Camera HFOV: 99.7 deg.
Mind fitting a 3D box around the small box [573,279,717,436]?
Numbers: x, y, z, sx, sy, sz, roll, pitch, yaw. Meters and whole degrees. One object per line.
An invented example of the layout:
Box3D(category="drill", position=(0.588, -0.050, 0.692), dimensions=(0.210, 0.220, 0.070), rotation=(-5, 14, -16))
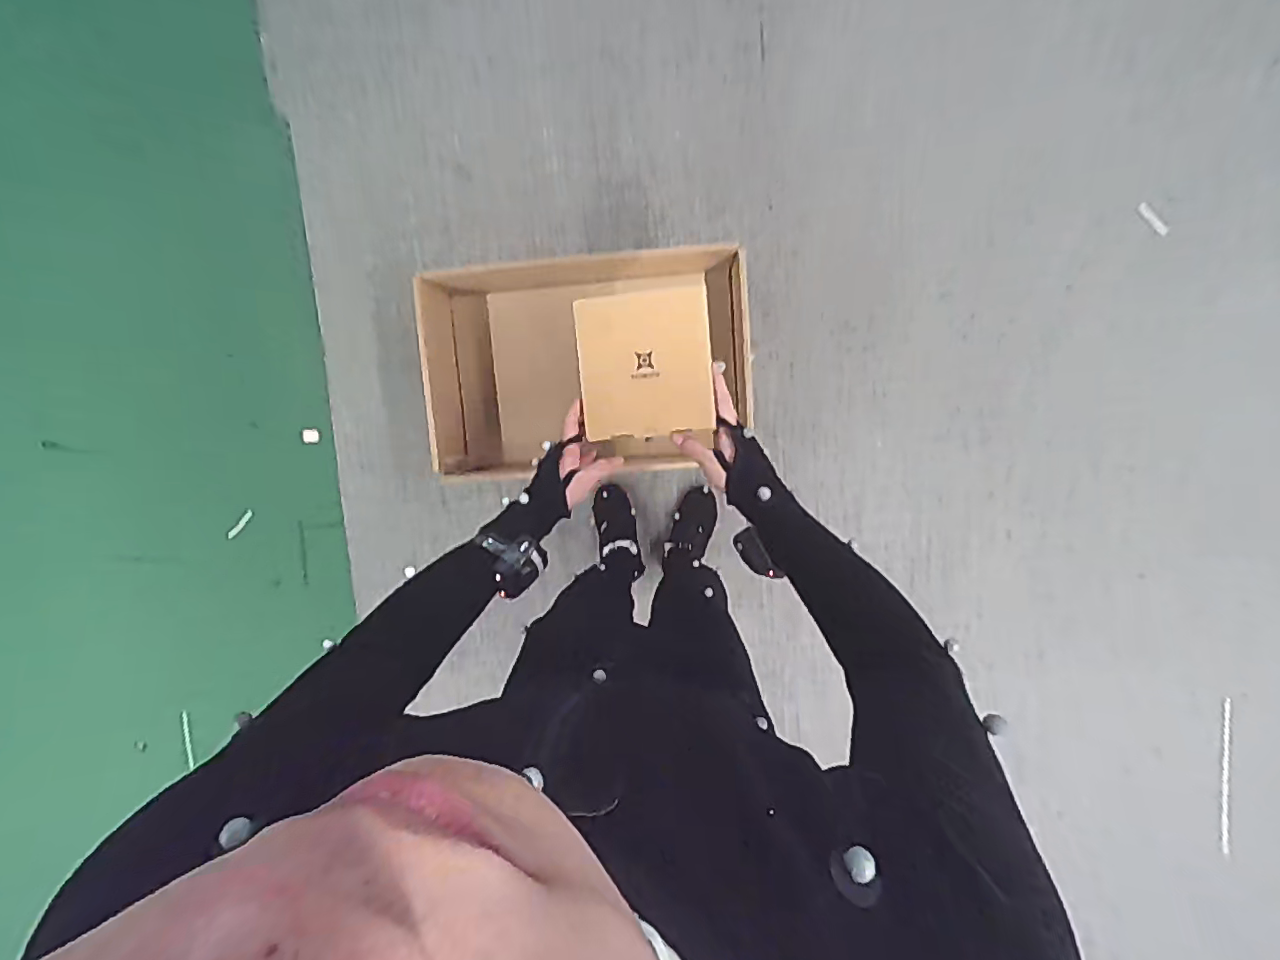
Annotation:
Box3D(category="small box", position=(0.012, -0.154, 0.730), dimensions=(0.168, 0.176, 0.179), rotation=(-5, 97, 7))
